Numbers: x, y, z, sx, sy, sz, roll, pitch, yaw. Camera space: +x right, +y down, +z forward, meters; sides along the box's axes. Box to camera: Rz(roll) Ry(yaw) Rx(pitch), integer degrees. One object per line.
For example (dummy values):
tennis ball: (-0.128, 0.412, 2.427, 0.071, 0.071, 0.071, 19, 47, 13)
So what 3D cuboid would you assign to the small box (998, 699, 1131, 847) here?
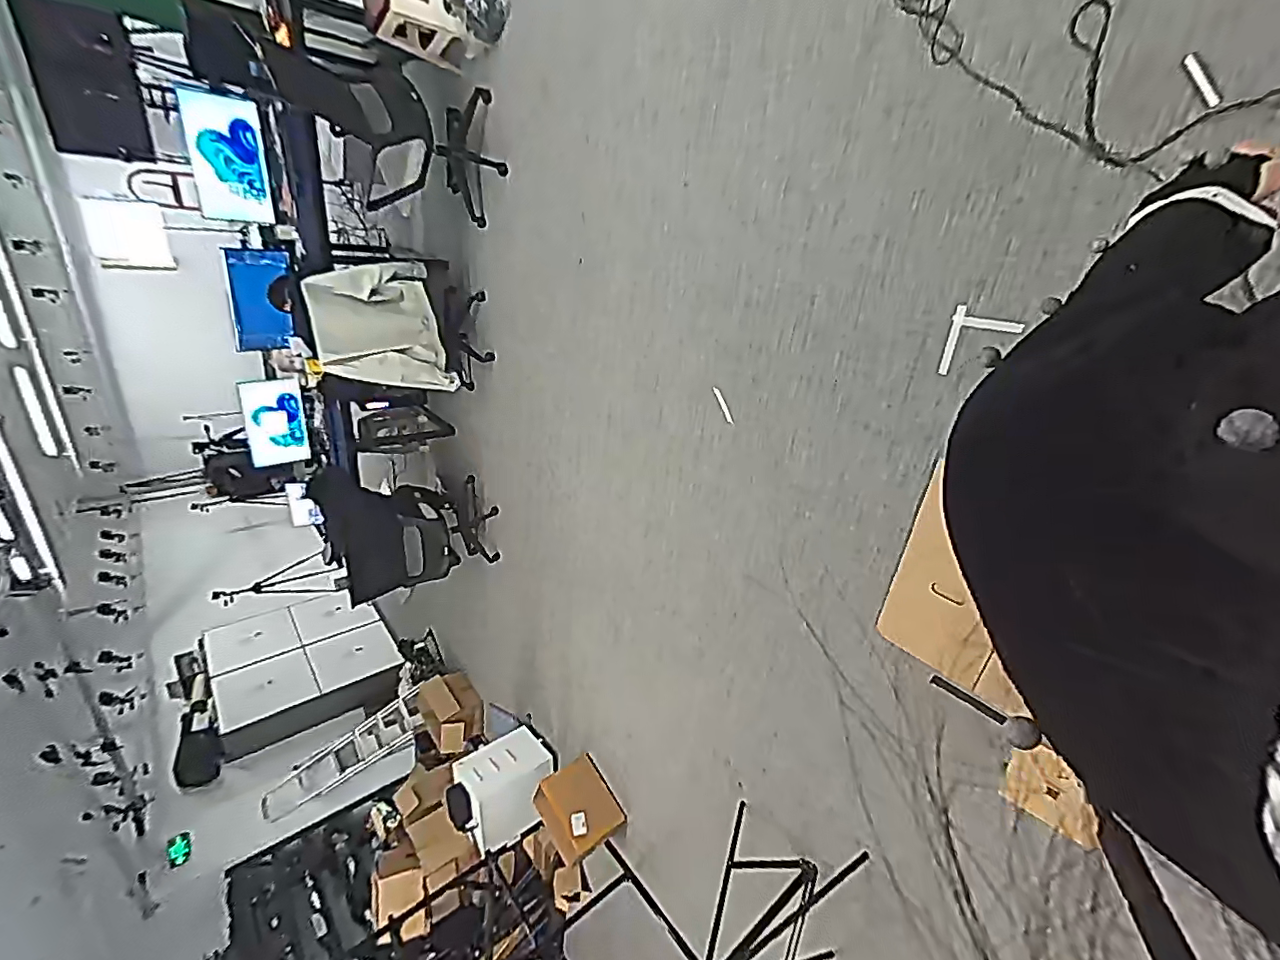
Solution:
small box: (0.895, 0.606, 1.140, 0.168, 0.176, 0.179, 24, 120, 43)
